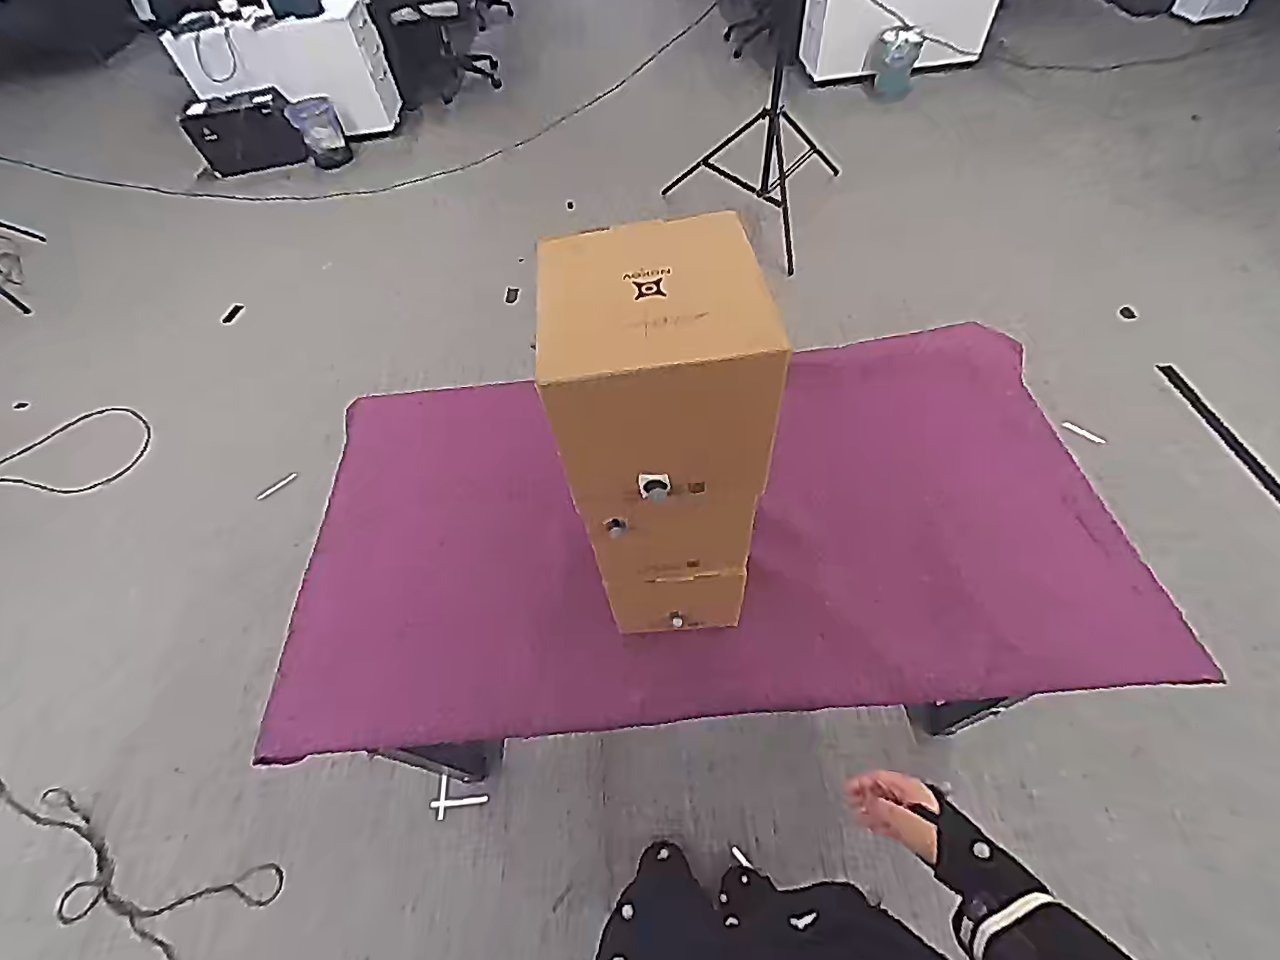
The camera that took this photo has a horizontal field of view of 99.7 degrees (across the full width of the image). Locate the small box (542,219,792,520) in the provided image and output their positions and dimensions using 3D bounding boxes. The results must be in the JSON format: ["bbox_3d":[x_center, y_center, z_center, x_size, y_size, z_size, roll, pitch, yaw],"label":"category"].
[{"bbox_3d":[0.015,-0.089,0.460,0.168,0.176,0.179,-8,55,0],"label":"small box"}]

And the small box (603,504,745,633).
[{"bbox_3d":[0.042,0.091,0.732,0.168,0.176,0.179,-5,54,3],"label":"small box"}]
